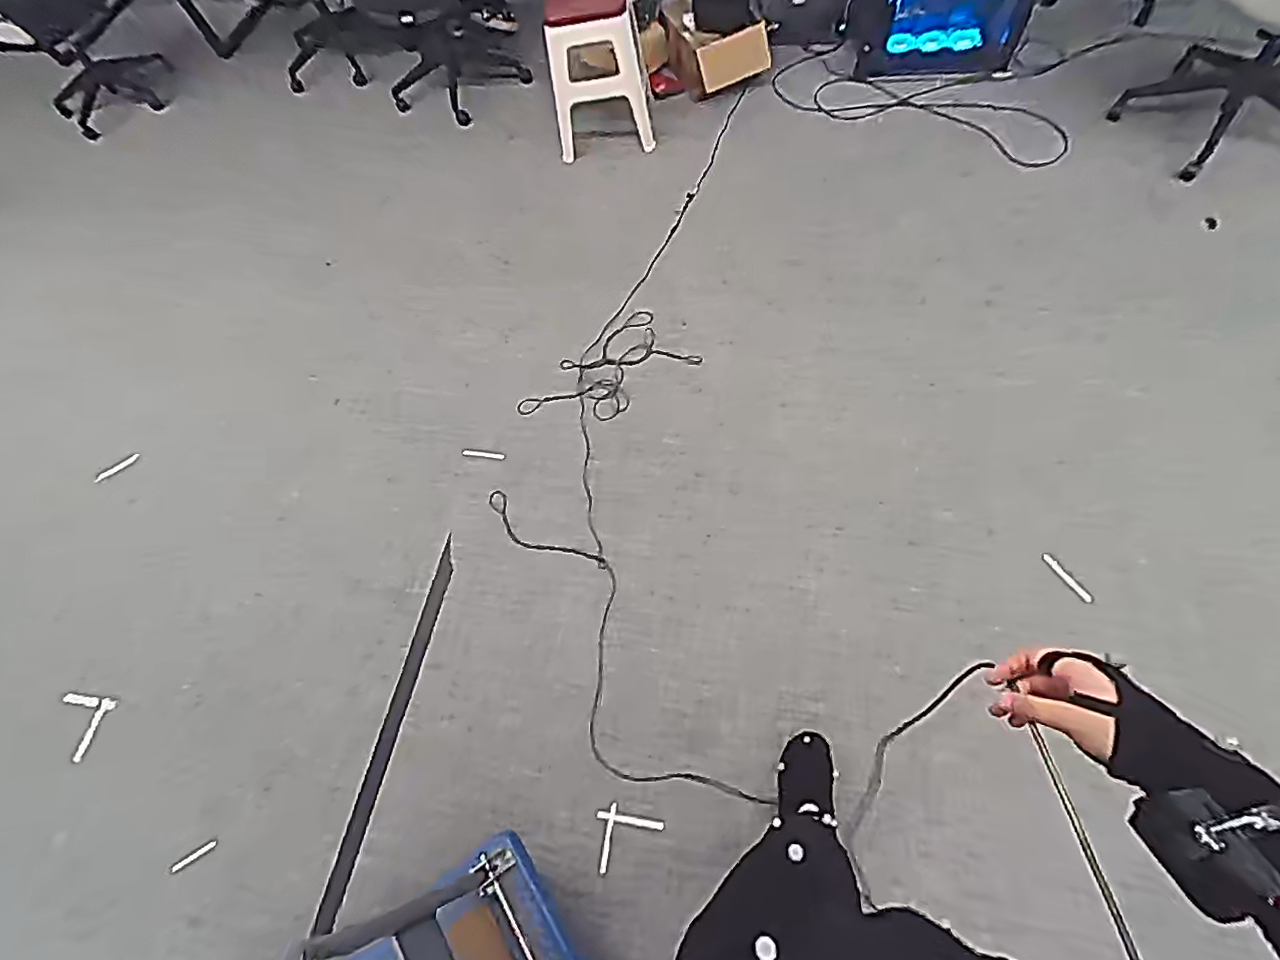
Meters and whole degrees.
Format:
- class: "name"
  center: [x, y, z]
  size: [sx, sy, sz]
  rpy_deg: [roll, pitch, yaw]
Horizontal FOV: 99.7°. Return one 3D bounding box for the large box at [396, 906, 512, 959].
- class: "large box"
  center: [-0.322, 0.978, 0.809]
  size: [0.320, 0.320, 0.408]
  rpy_deg: [-35, 64, -10]
